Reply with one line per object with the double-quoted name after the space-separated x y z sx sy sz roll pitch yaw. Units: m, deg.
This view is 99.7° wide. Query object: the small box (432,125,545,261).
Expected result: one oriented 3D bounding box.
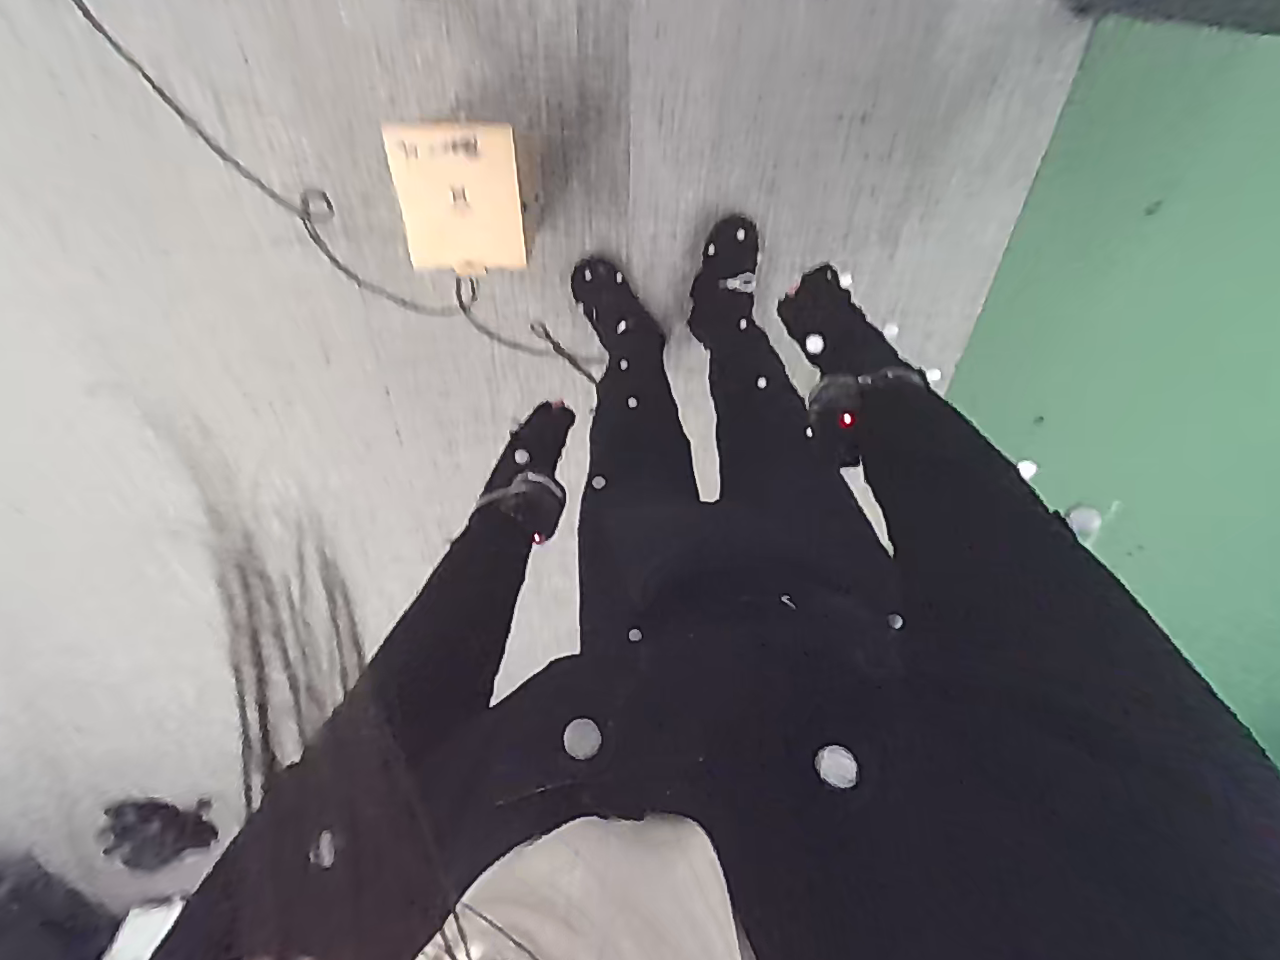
-0.257 -0.505 0.944 0.168 0.176 0.179 6 125 -8 "small box"
